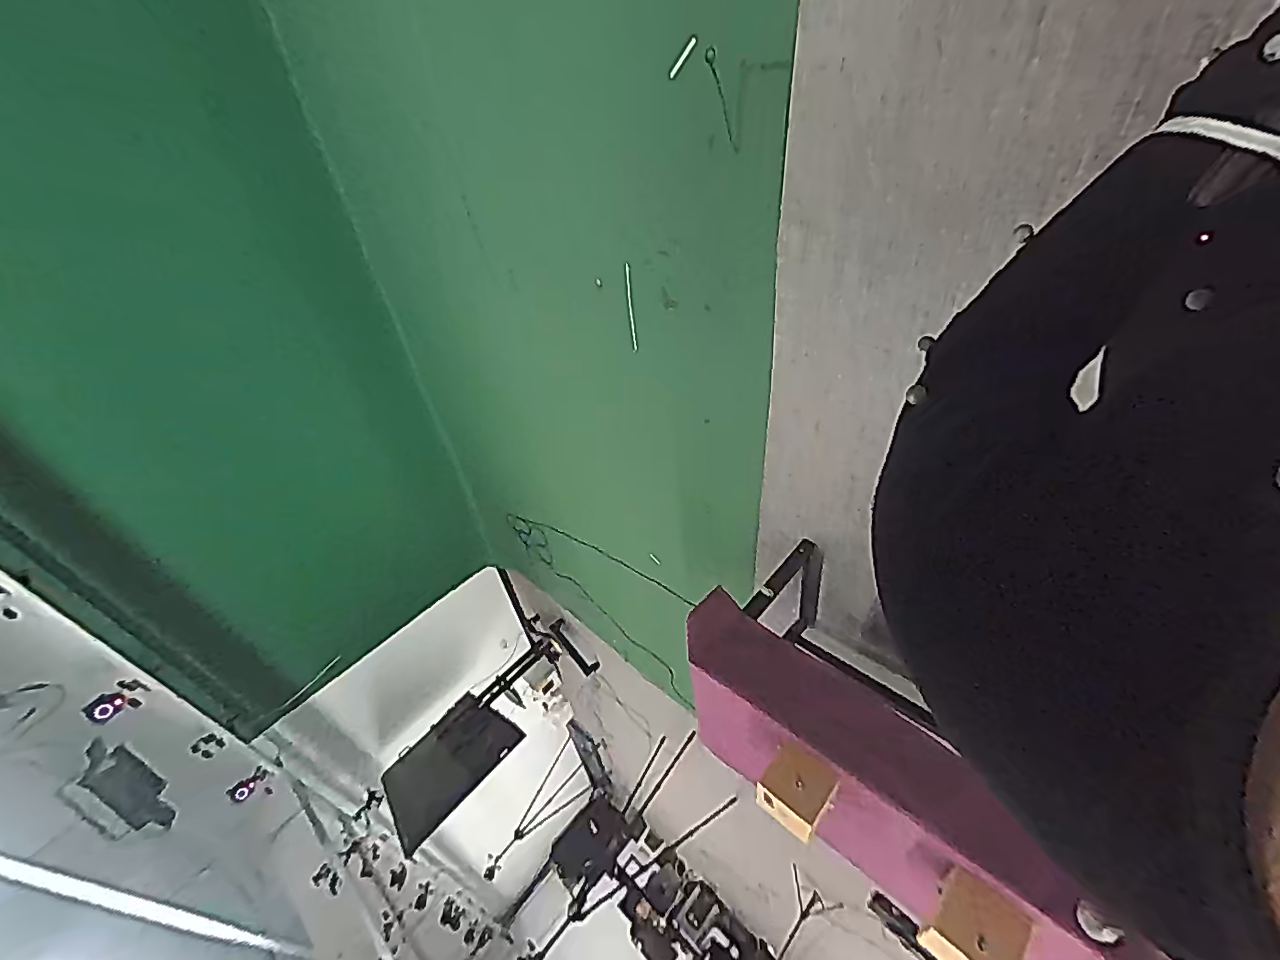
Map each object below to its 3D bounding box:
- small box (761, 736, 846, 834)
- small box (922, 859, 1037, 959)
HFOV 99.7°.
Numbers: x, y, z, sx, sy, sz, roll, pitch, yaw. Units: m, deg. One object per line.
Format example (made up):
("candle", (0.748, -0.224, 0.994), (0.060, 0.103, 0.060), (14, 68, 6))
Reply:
("small box", (0.483, 0.894, 1.605), (0.179, 0.176, 0.168), (28, 144, 33))
("small box", (0.837, 1.089, 1.335), (0.179, 0.176, 0.168), (29, 144, 33))
